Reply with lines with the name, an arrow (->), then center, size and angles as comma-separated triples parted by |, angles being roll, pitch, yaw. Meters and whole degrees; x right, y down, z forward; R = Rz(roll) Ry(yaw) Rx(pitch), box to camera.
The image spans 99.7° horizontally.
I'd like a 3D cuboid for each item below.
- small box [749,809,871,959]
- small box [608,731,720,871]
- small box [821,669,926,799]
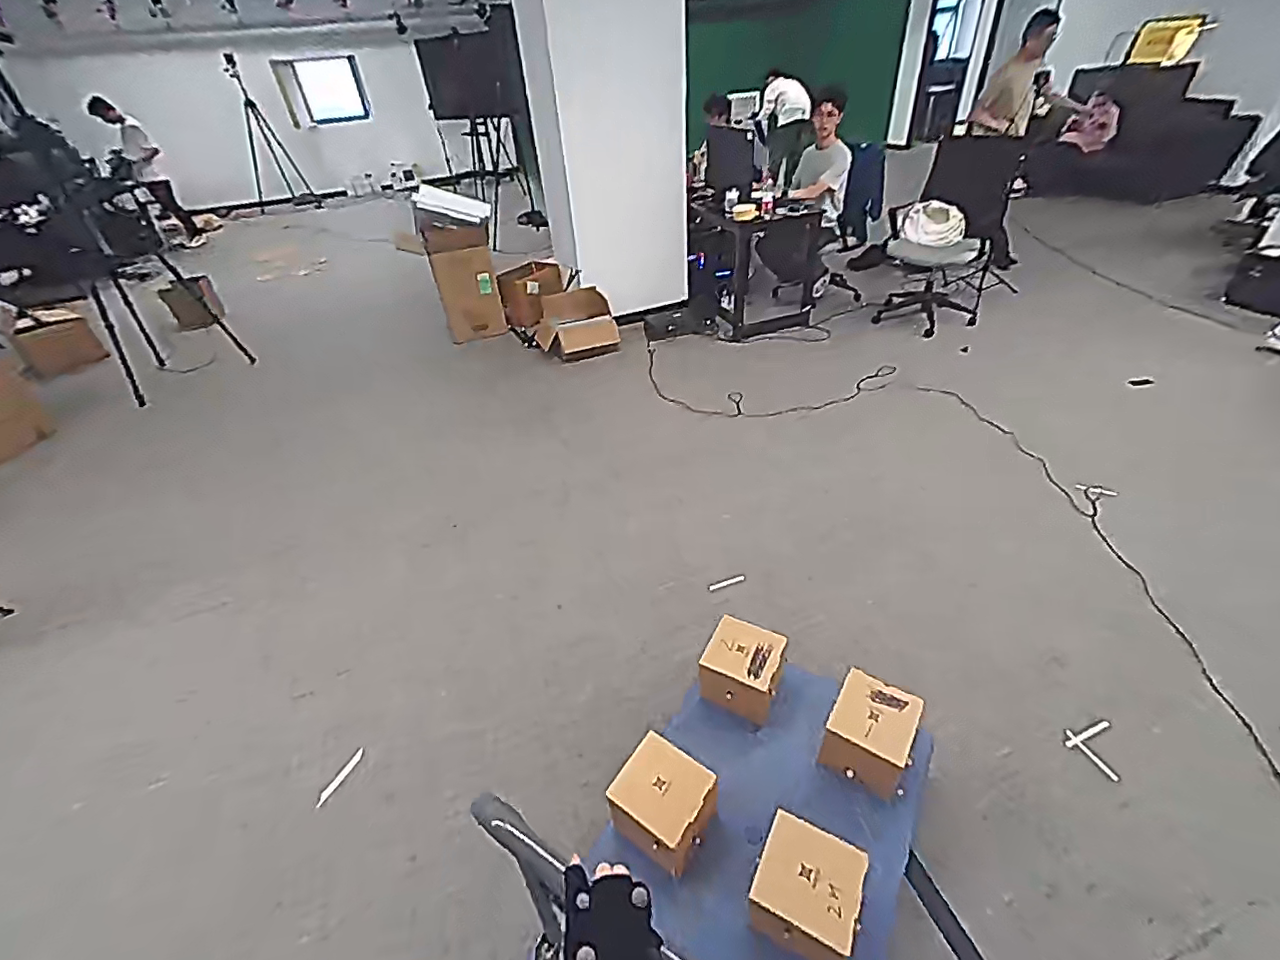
small box -> 0.314, 0.774, 1.018 | 0.179, 0.176, 0.168 | 16, 43, 26
small box -> 0.054, 0.691, 1.162 | 0.179, 0.176, 0.168 | 23, 45, 29
small box -> 0.530, 0.580, 1.241 | 0.168, 0.176, 0.179 | 20, 46, 30
